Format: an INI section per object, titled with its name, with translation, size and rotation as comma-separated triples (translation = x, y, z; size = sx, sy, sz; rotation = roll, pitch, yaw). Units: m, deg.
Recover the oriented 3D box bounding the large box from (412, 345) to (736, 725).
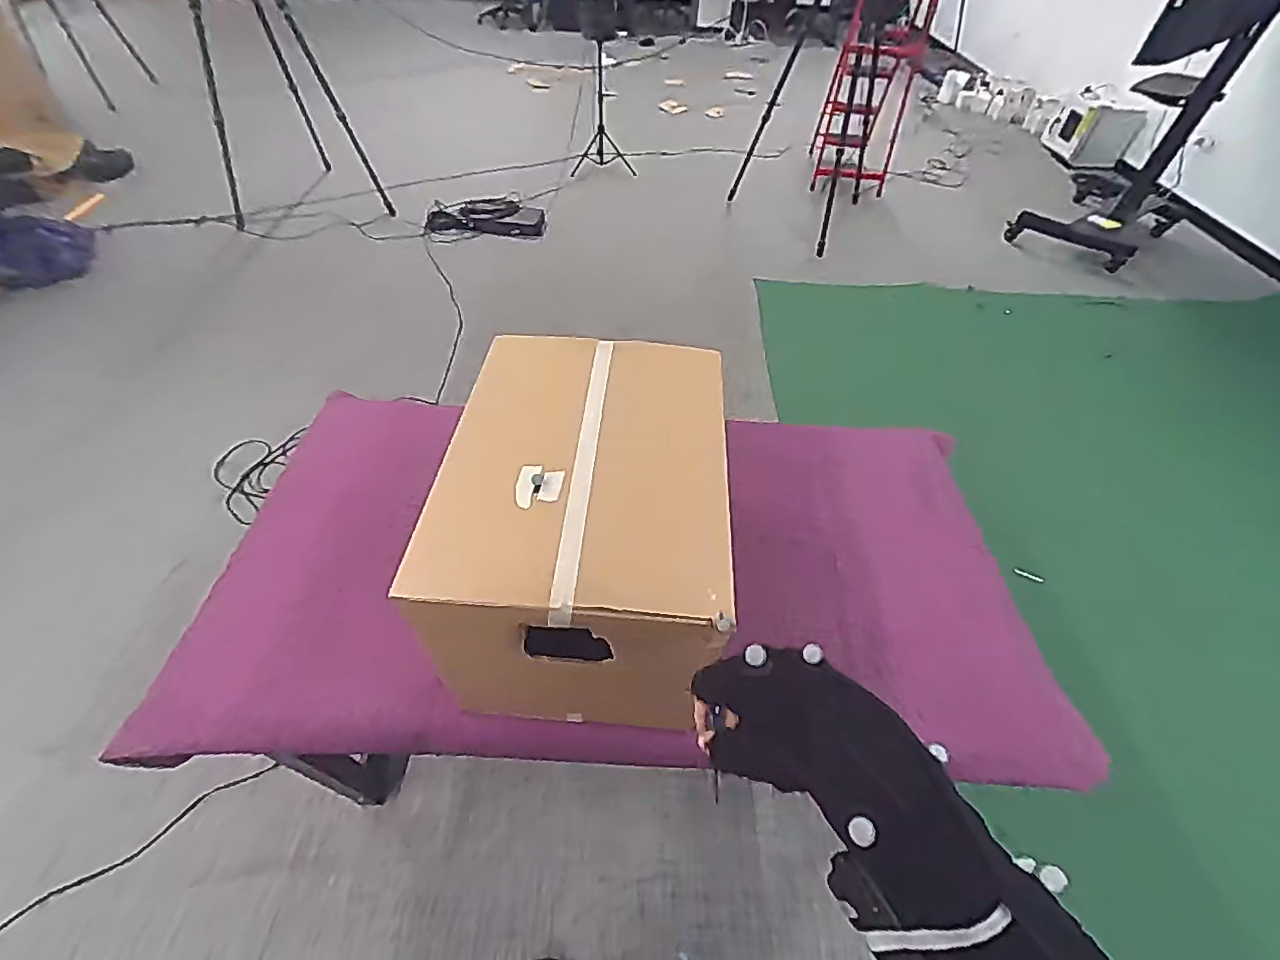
[large box]
translation = -0.061, 0.071, 0.741
size = 0.320, 0.320, 0.408
rotation = 5, 50, 1
